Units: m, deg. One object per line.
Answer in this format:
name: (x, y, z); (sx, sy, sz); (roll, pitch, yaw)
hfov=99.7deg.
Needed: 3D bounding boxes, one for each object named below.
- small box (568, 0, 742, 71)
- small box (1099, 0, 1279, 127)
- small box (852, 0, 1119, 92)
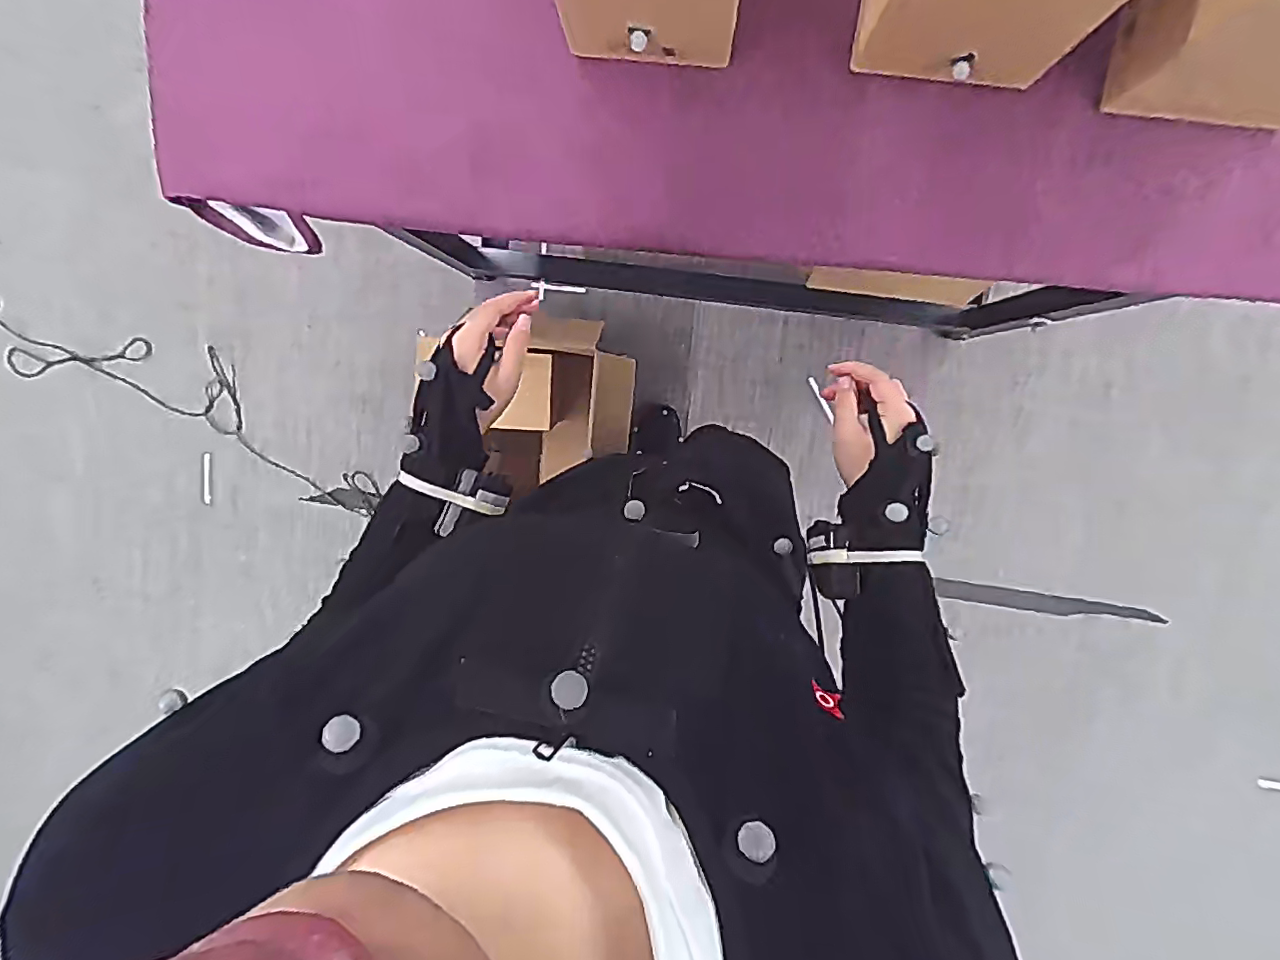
small box: (0.018, -0.507, 0.471); (0.168, 0.176, 0.179); (7, 100, 3)
small box: (0.545, -0.422, 0.443); (0.179, 0.176, 0.168); (9, 98, 3)
small box: (0.304, -0.469, 0.453); (0.179, 0.176, 0.168); (9, 98, 3)
